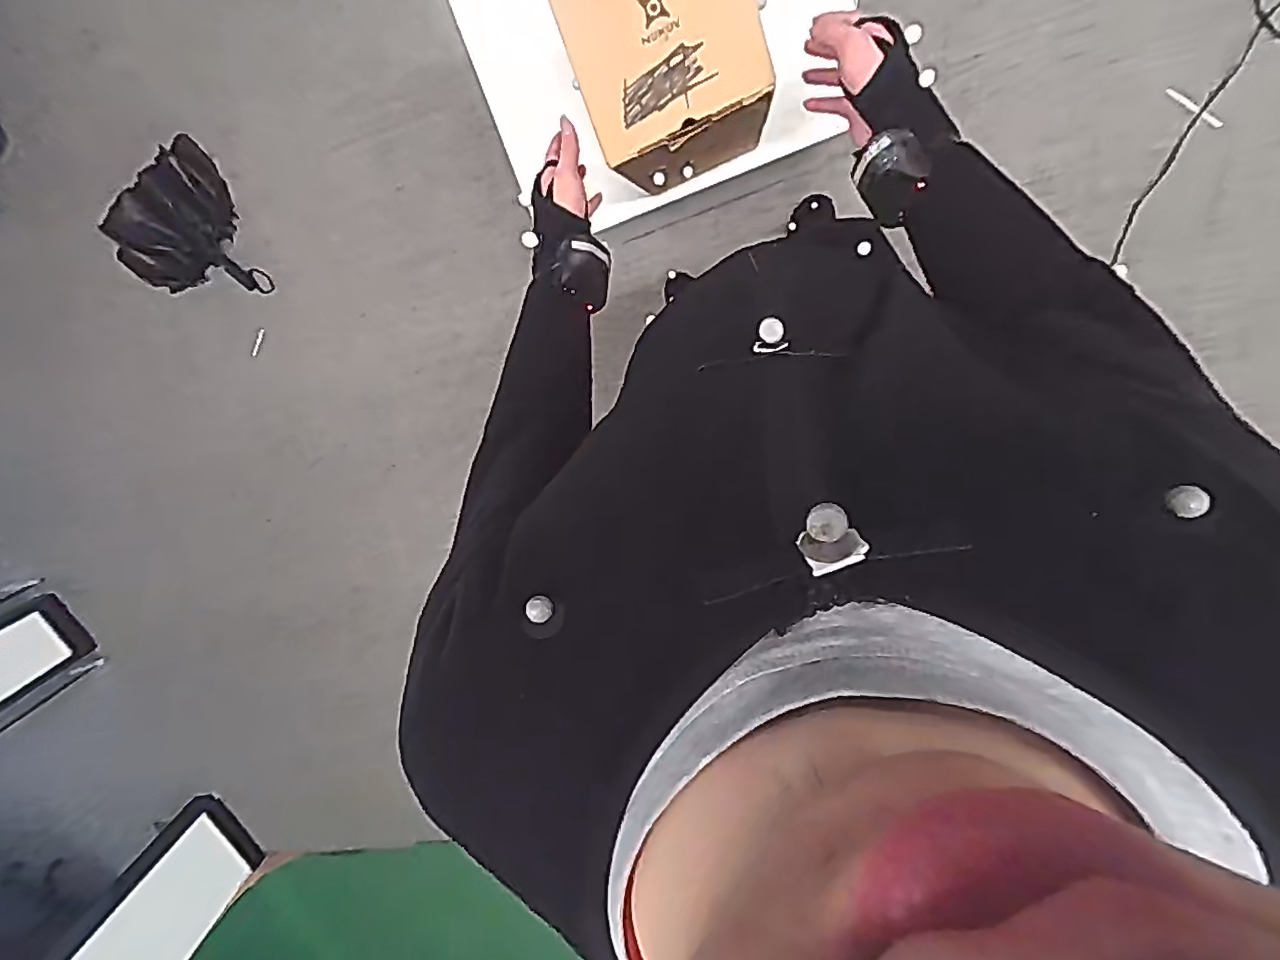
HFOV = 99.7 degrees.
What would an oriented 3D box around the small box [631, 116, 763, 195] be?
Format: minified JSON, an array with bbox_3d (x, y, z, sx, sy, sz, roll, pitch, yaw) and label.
[{"bbox_3d":[0.047,-0.491,0.690,0.168,0.176,0.179,-18,109,16],"label":"small box"}]

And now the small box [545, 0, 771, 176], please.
[{"bbox_3d":[0.024,-0.427,0.539,0.168,0.176,0.179,-18,108,16],"label":"small box"}]
